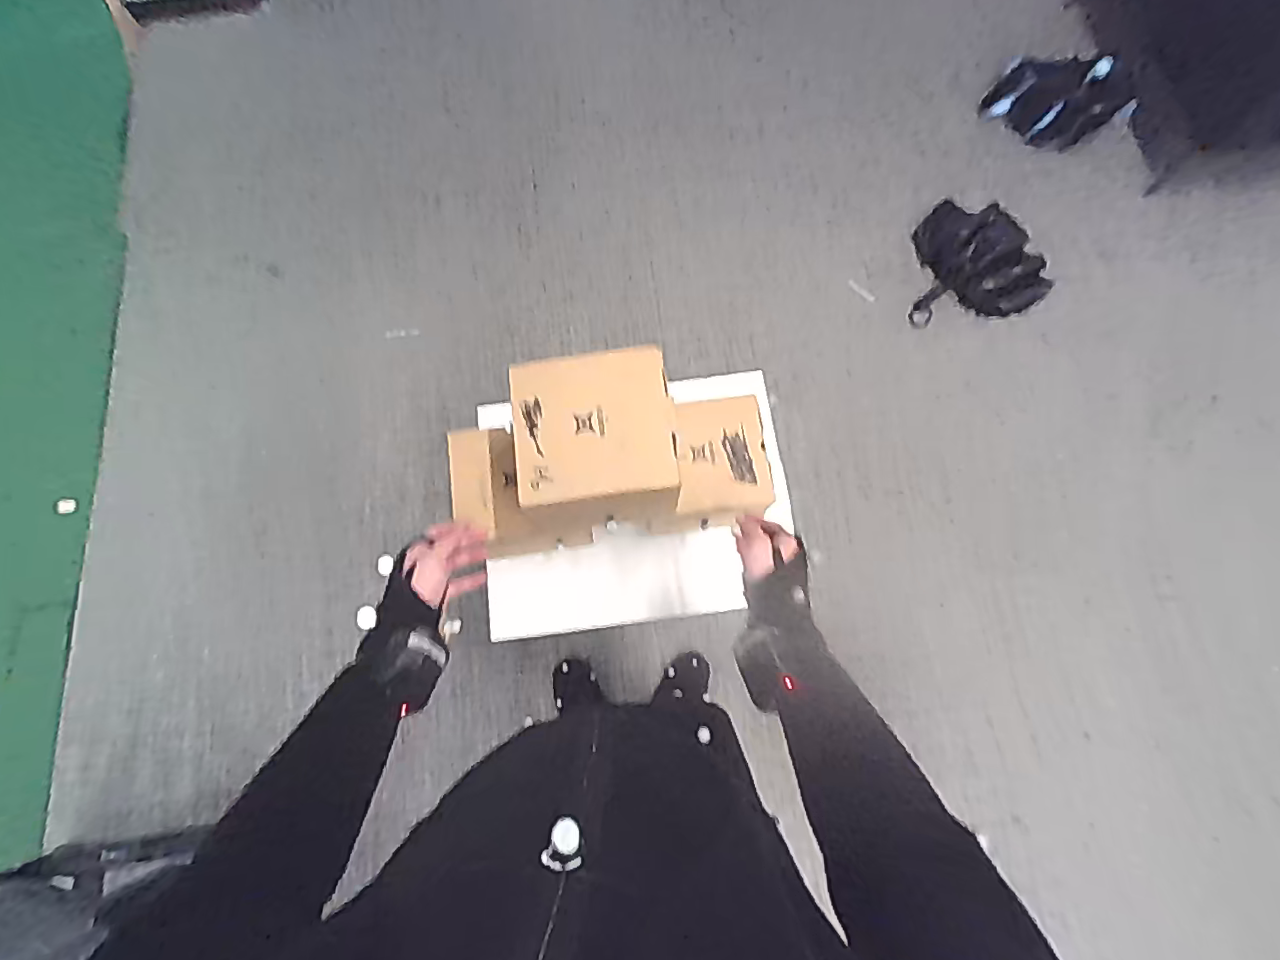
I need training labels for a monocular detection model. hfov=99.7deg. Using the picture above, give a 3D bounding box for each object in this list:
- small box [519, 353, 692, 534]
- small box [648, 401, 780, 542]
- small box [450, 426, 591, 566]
[{"bbox_3d":[-0.042,-0.036,0.660,0.179,0.176,0.168,-6,74,-2],"label":"small box"},{"bbox_3d":[0.095,-0.006,0.822,0.179,0.176,0.168,-7,74,-2],"label":"small box"},{"bbox_3d":[-0.169,0.027,0.811,0.179,0.176,0.168,-8,73,-3],"label":"small box"}]
